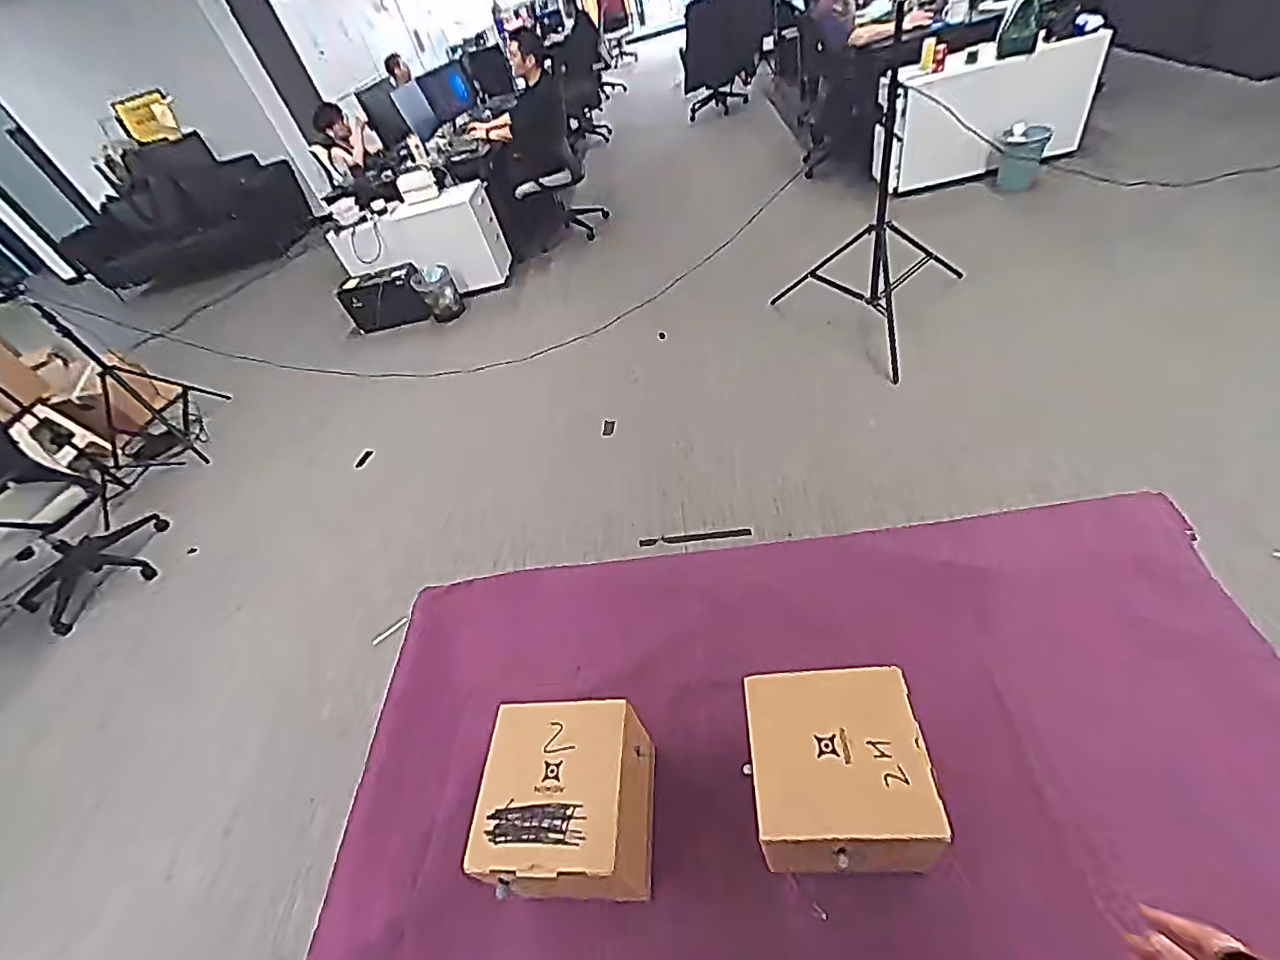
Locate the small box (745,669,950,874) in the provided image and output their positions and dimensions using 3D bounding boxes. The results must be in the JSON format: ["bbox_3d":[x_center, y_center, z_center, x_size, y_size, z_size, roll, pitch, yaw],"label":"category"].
[{"bbox_3d":[0.221,0.333,0.614,0.179,0.176,0.168,-7,45,11],"label":"small box"}]
